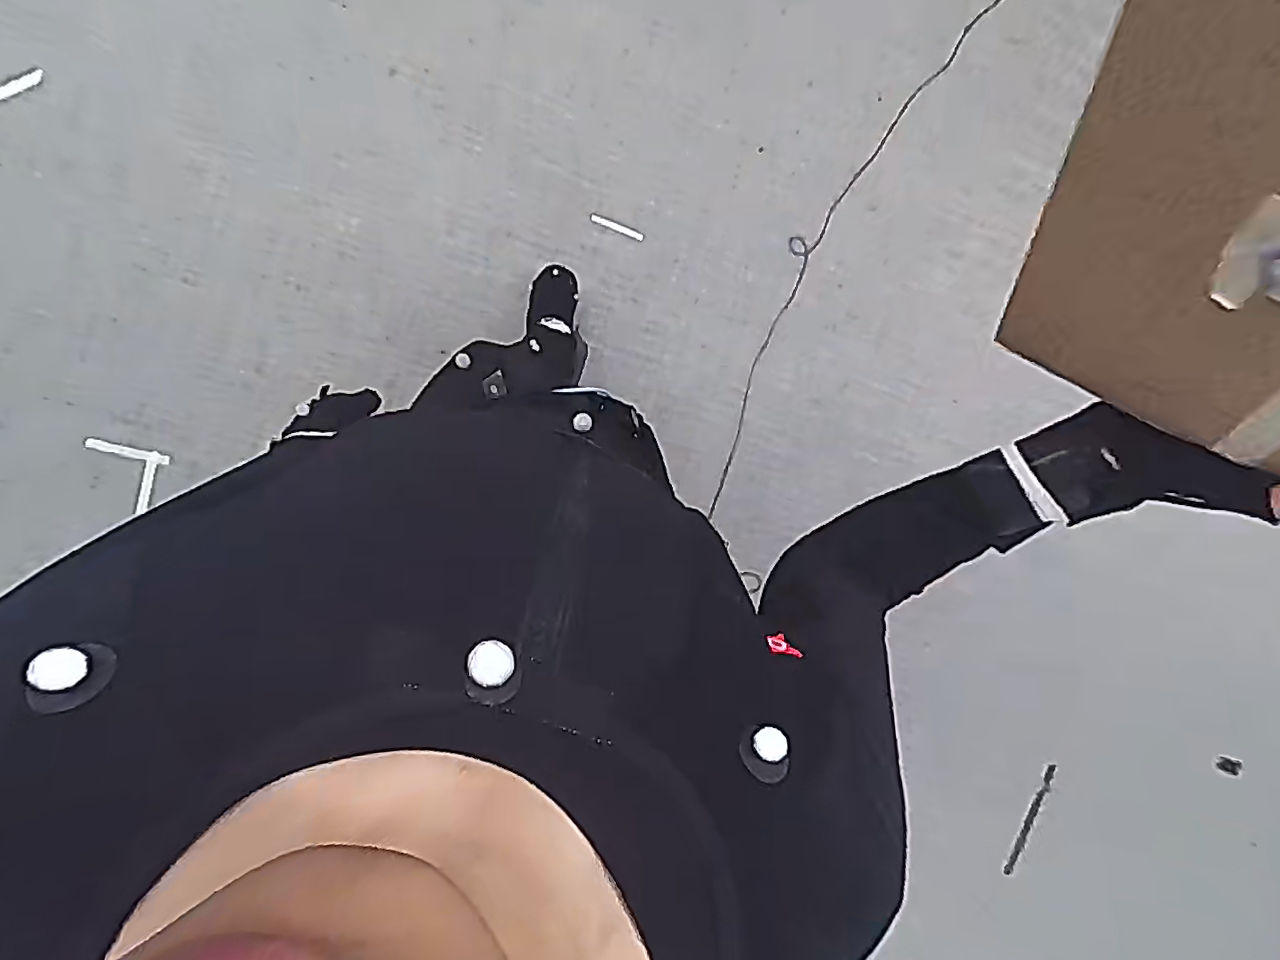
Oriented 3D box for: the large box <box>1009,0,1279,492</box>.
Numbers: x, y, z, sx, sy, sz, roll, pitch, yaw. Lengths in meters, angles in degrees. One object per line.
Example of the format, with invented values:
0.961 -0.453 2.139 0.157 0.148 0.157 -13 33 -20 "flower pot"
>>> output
0.420 -0.197 0.177 0.320 0.408 0.320 -40 59 -1 "large box"
